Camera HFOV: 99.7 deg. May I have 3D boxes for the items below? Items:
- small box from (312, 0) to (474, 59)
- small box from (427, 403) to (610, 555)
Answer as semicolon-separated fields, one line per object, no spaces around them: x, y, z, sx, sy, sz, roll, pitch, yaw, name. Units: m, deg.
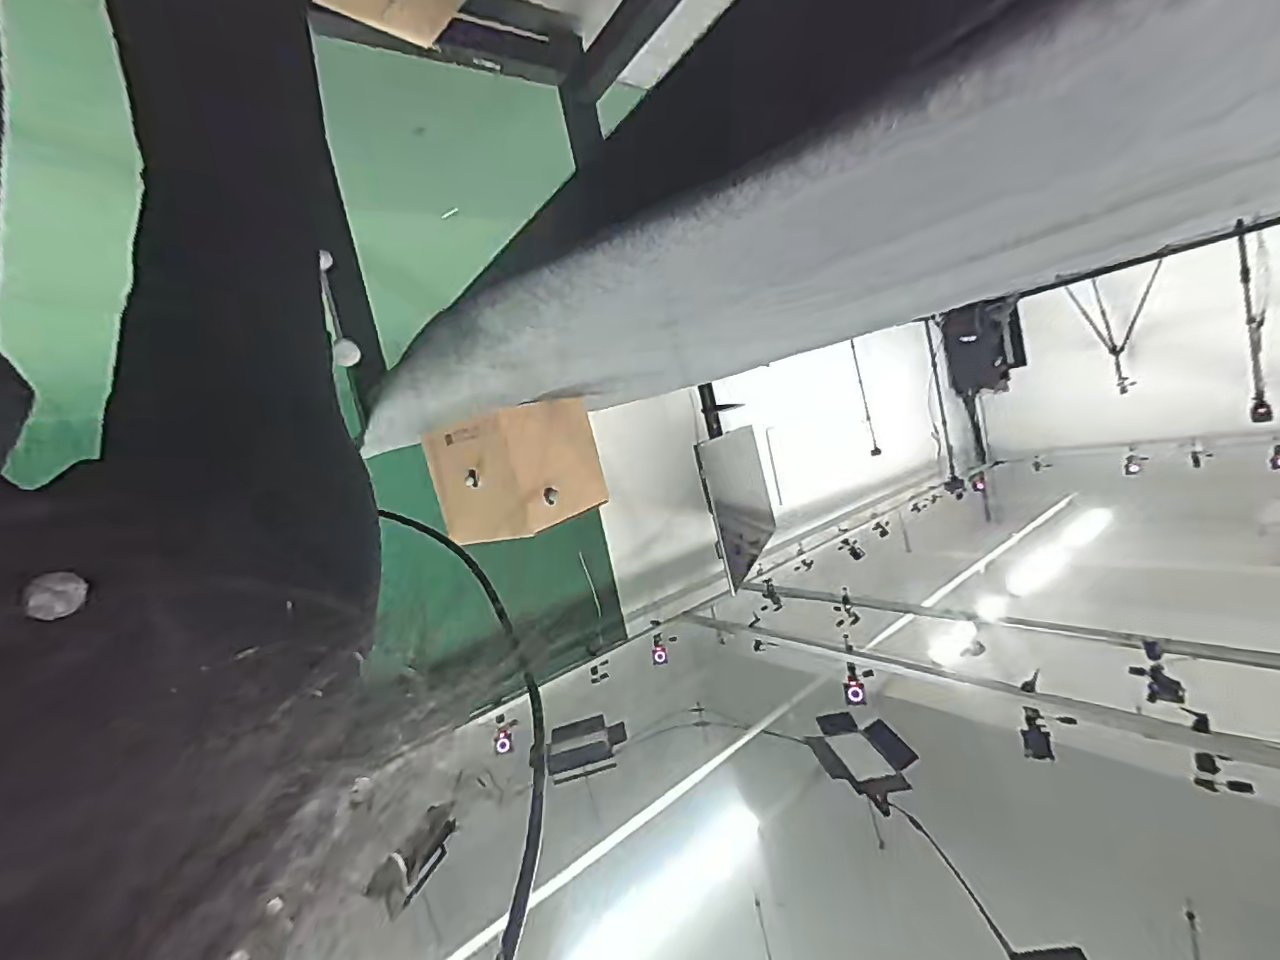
-0.333;-0.715;0.704;0.179;0.176;0.168;-7;-173;41;small box
-0.174;-0.005;0.779;0.168;0.176;0.179;-10;-172;33;small box
